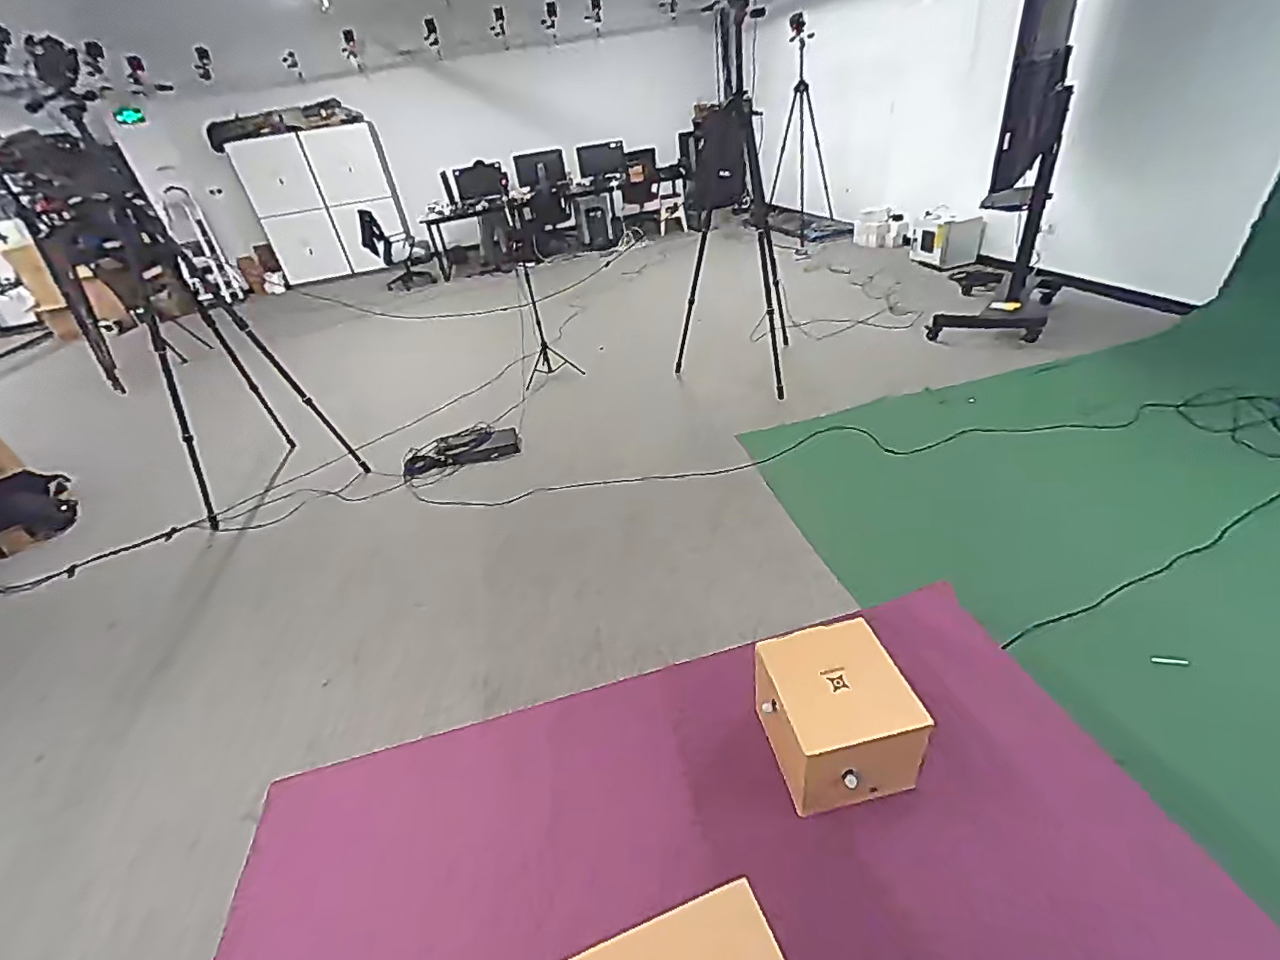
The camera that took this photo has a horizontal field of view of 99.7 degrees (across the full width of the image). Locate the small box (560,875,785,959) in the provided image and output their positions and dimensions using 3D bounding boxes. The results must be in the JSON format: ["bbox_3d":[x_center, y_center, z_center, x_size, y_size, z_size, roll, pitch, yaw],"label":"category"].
[{"bbox_3d":[0.043,0.474,0.434,0.179,0.176,0.168,-12,35,-16],"label":"small box"}]

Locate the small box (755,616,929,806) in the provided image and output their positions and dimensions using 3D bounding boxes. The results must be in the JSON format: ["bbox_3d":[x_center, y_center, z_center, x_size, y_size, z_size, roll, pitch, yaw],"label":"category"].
[{"bbox_3d":[0.272,0.328,0.763,0.168,0.176,0.179,-13,34,-3],"label":"small box"}]
